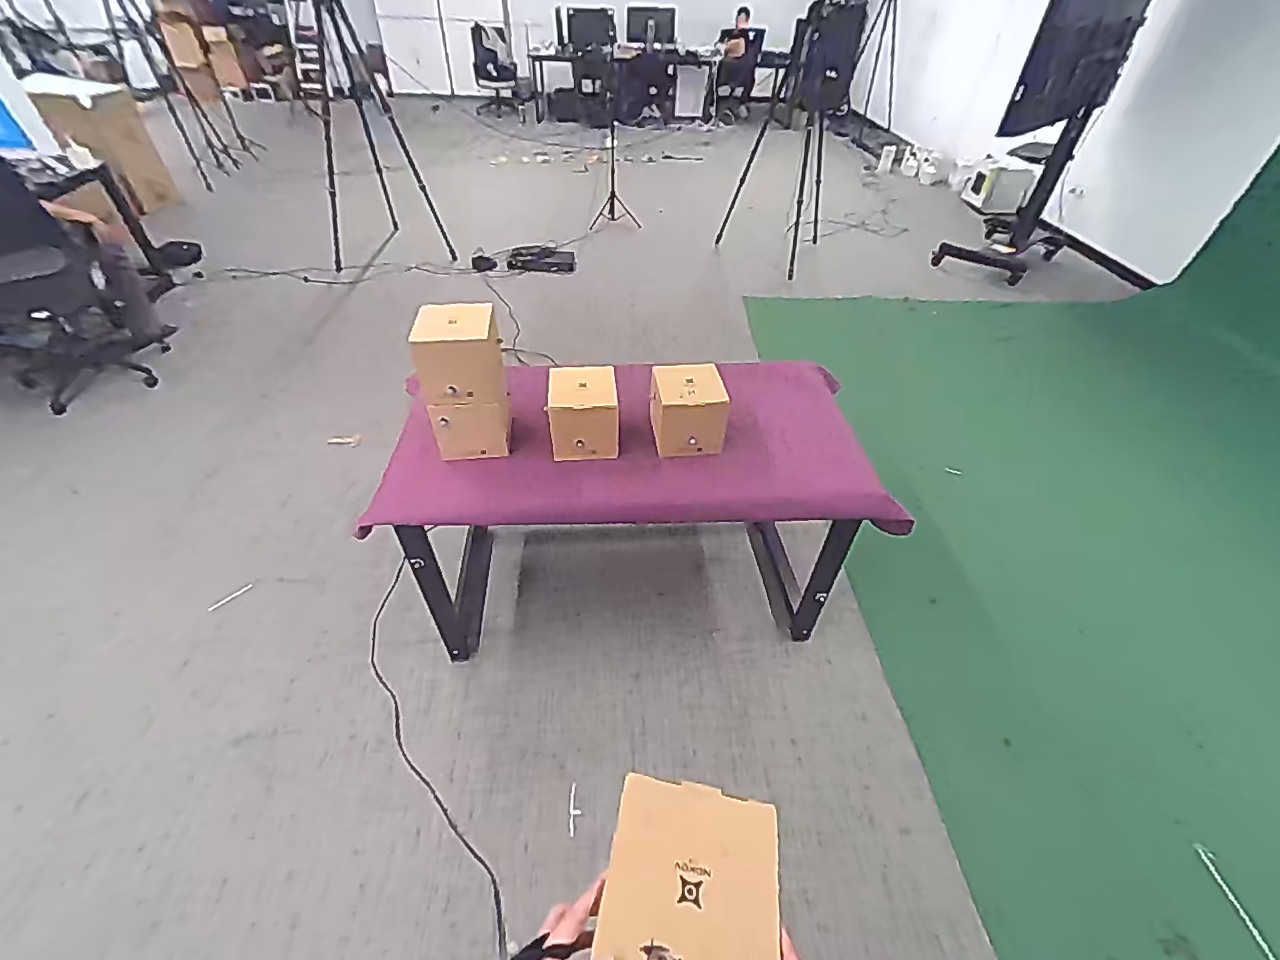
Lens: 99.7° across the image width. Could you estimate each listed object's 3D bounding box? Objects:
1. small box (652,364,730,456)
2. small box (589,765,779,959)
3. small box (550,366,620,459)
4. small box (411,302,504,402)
[{"bbox_3d":[0.124,-0.181,1.401,0.168,0.176,0.179,-4,45,-6],"label":"small box"},{"bbox_3d":[0.044,0.441,0.567,0.168,0.176,0.179,10,38,6],"label":"small box"},{"bbox_3d":[-0.140,-0.173,1.381,0.168,0.176,0.179,-3,45,-6],"label":"small box"},{"bbox_3d":[-0.414,-0.297,1.256,0.168,0.176,0.179,-3,44,-6],"label":"small box"}]
